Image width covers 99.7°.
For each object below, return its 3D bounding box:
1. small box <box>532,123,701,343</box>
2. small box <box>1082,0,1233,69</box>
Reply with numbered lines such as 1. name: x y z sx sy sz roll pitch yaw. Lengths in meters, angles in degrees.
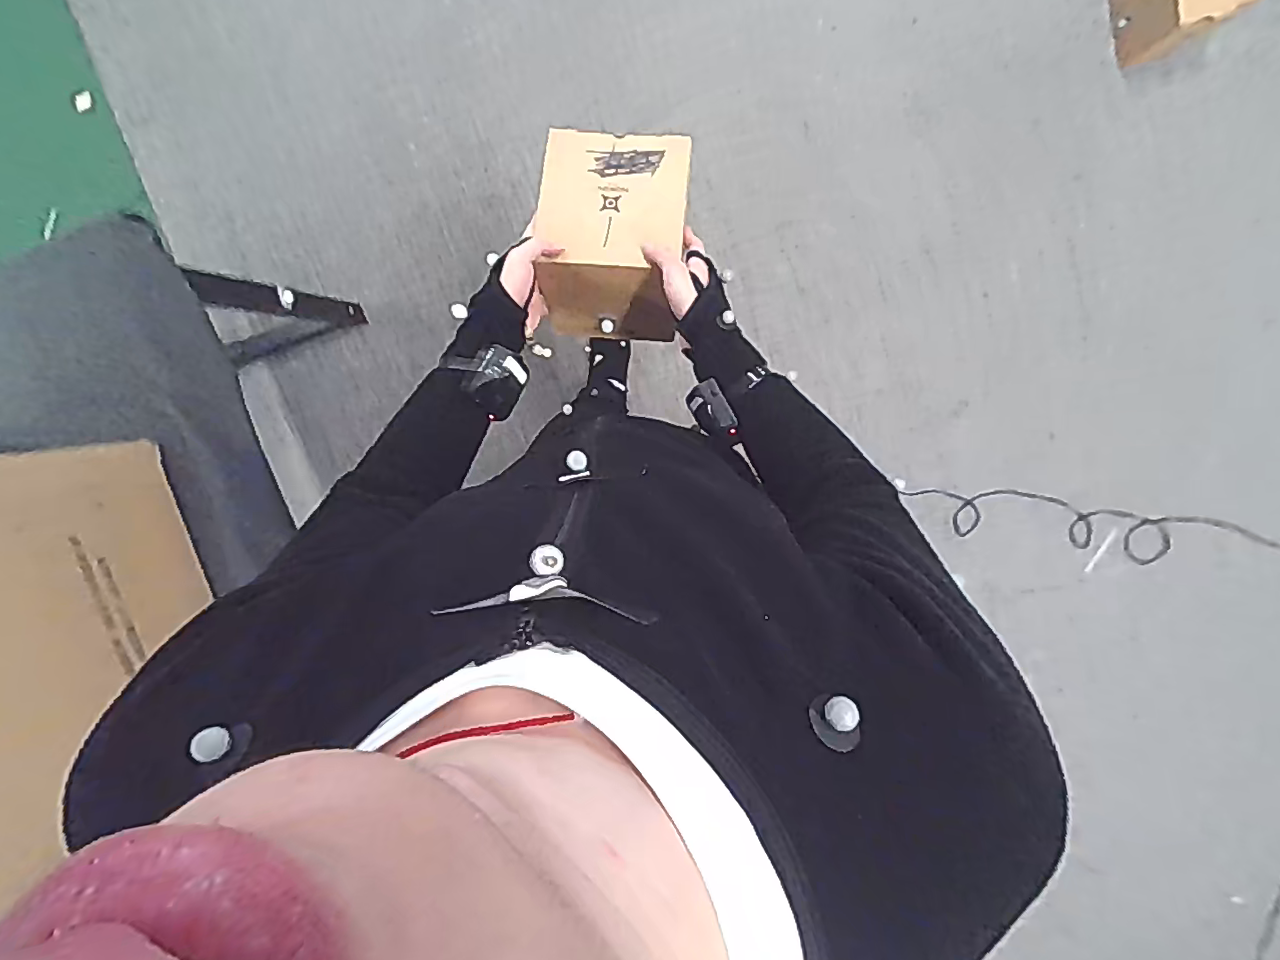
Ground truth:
1. small box: -0.023 -0.296 0.674 0.168 0.176 0.179 8 78 3
2. small box: 1.144 -1.067 1.208 0.168 0.176 0.179 -19 99 8
